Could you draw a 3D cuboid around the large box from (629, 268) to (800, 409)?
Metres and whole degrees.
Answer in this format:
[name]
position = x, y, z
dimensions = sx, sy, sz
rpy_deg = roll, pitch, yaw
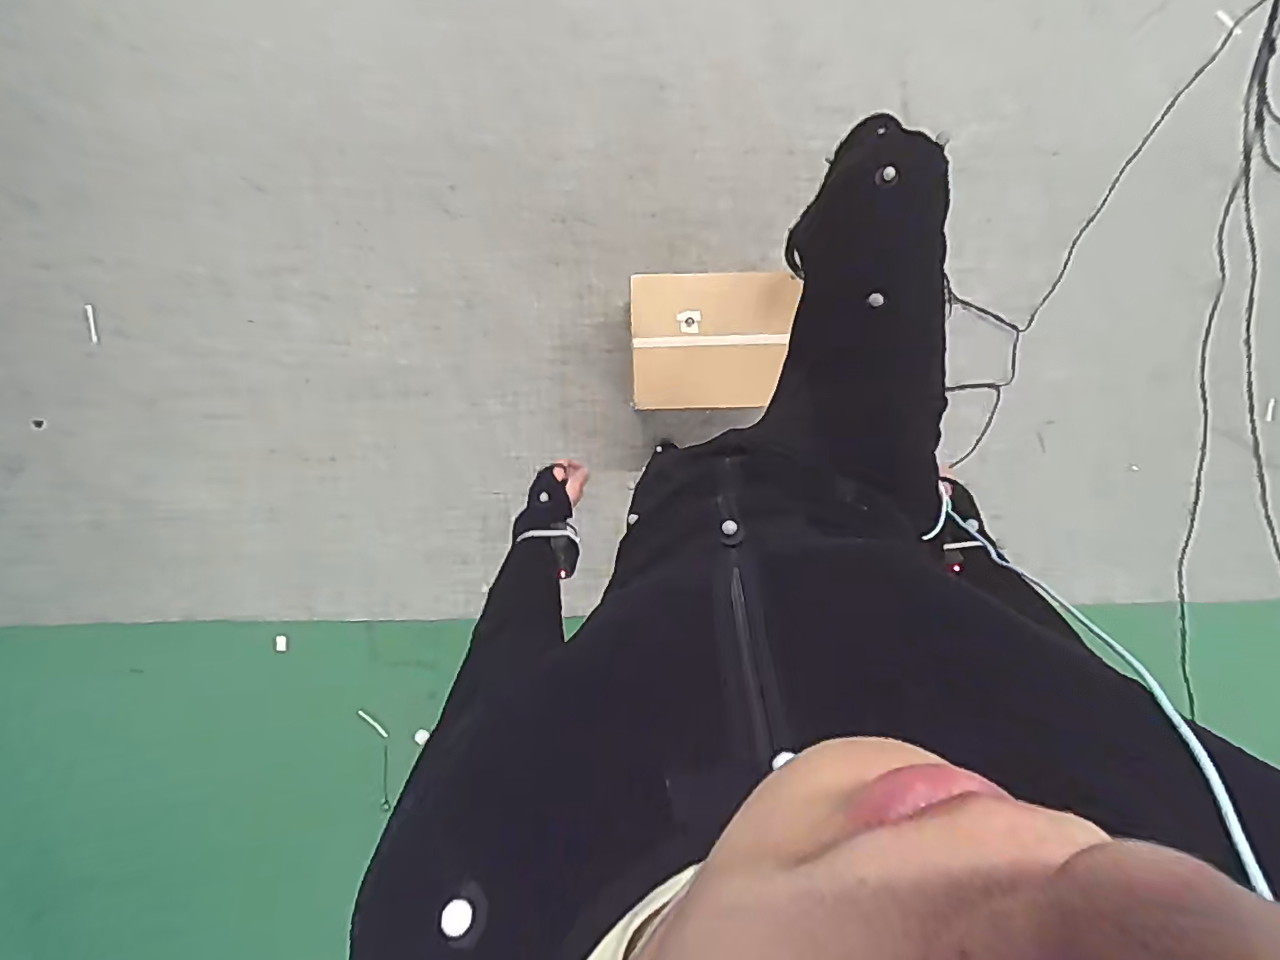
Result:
[large box]
position = 0.182, -0.356, 1.429
dimensions = 0.408, 0.320, 0.320
rpy_deg = -2, 97, 0
